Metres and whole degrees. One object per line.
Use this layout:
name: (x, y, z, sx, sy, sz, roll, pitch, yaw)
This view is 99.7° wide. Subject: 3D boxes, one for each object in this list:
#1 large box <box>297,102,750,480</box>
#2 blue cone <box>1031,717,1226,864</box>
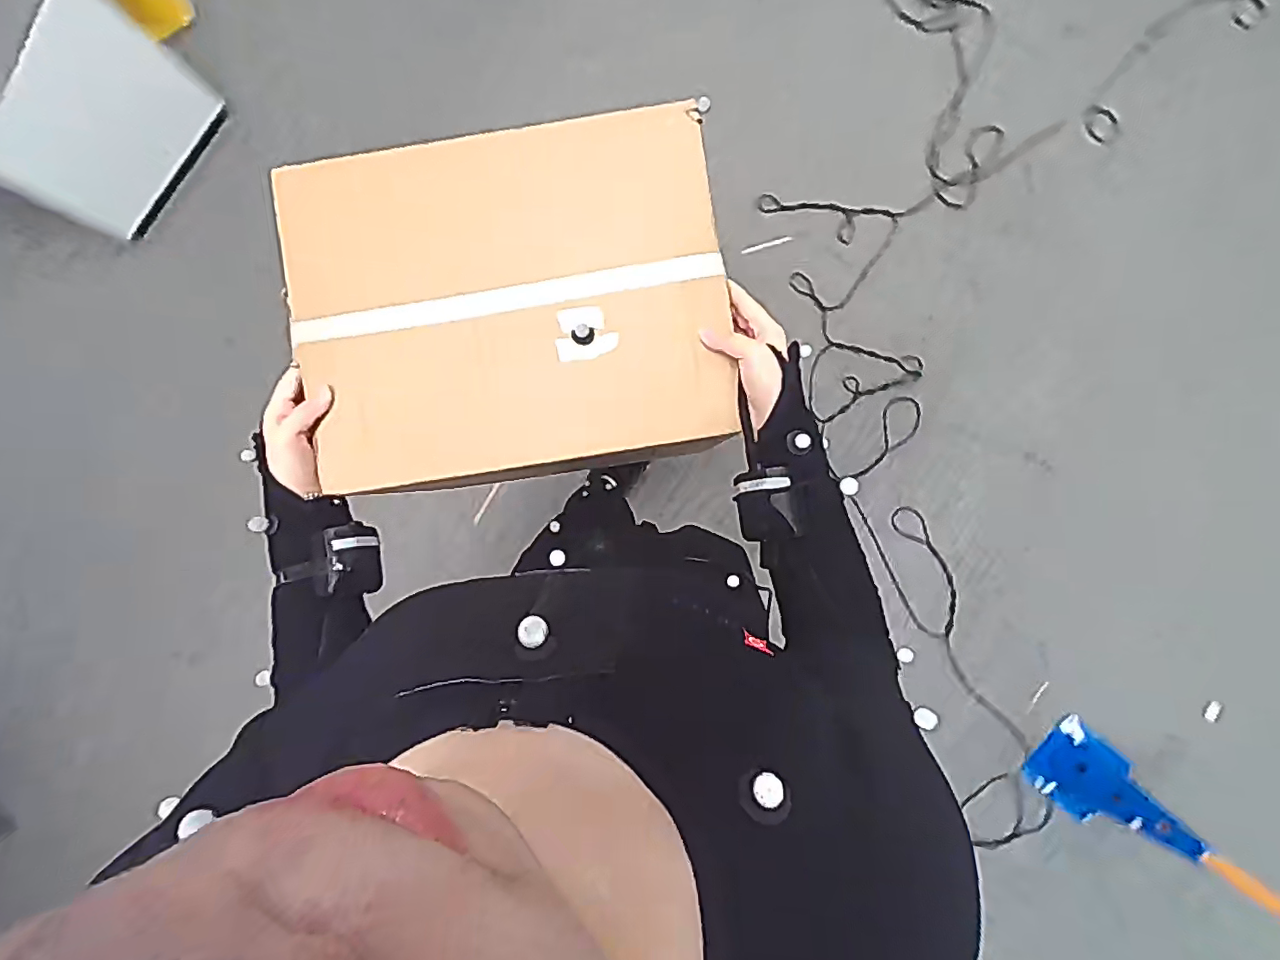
large box: (-0.113, -0.180, 0.661, 0.408, 0.320, 0.320, -8, 91, 0)
blue cone: (1.103, 0.714, 1.213, 0.192, 0.380, 0.193, 40, 91, 5)
